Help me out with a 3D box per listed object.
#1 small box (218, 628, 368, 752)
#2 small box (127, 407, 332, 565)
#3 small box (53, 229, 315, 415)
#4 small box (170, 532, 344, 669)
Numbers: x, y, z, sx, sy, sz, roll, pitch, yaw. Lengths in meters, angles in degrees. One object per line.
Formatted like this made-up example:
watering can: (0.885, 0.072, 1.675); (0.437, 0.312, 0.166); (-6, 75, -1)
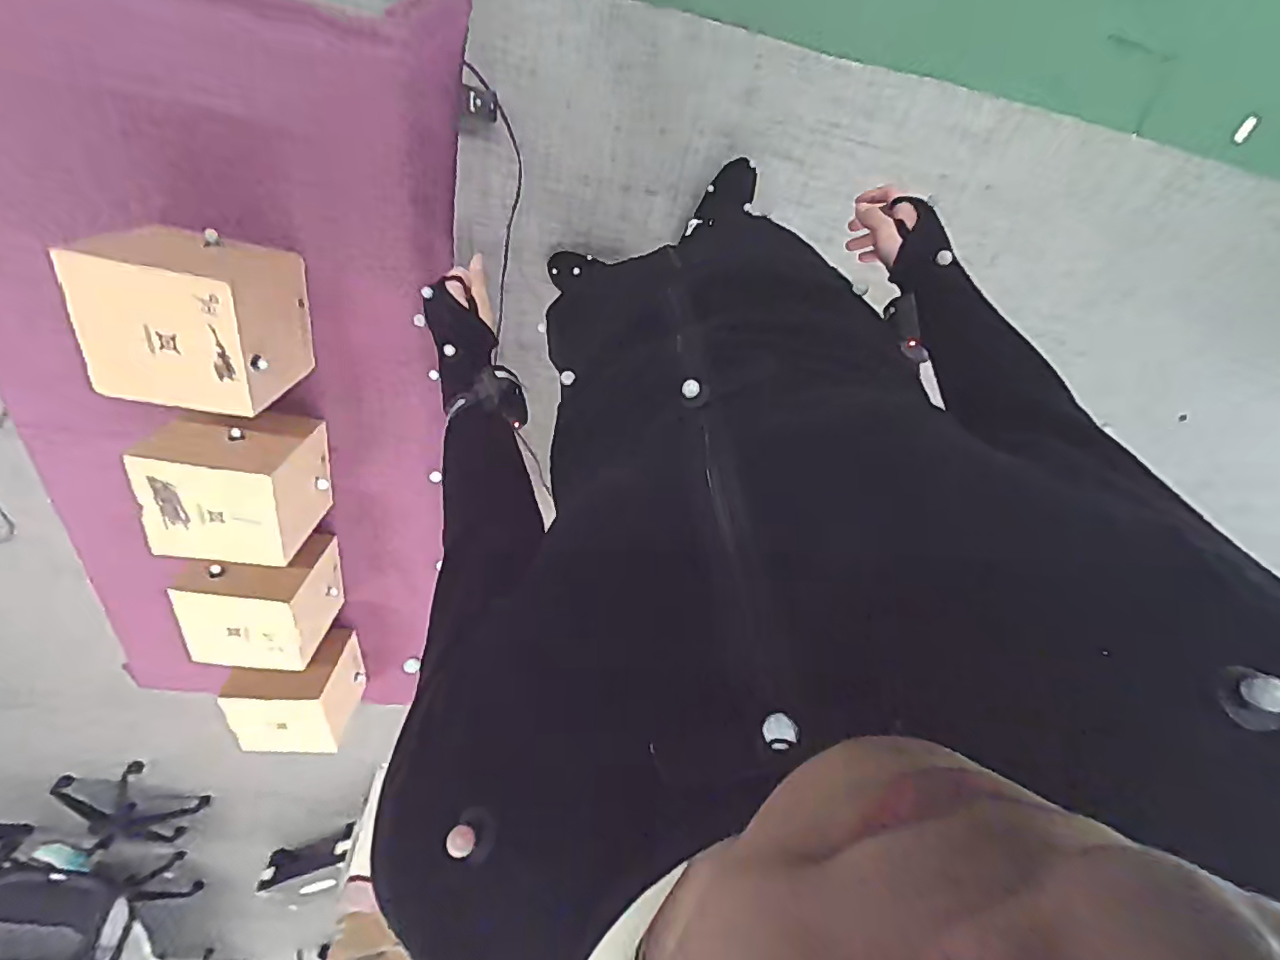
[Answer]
small box: (-0.665, 0.405, 1.061); (0.179, 0.176, 0.168); (4, 123, -6)
small box: (-0.589, 0.000, 0.806); (0.179, 0.176, 0.168); (9, 122, -10)
small box: (-0.544, -0.204, 0.678); (0.179, 0.176, 0.168); (10, 122, -8)
small box: (-0.639, 0.195, 0.928); (0.179, 0.176, 0.168); (8, 122, -8)
